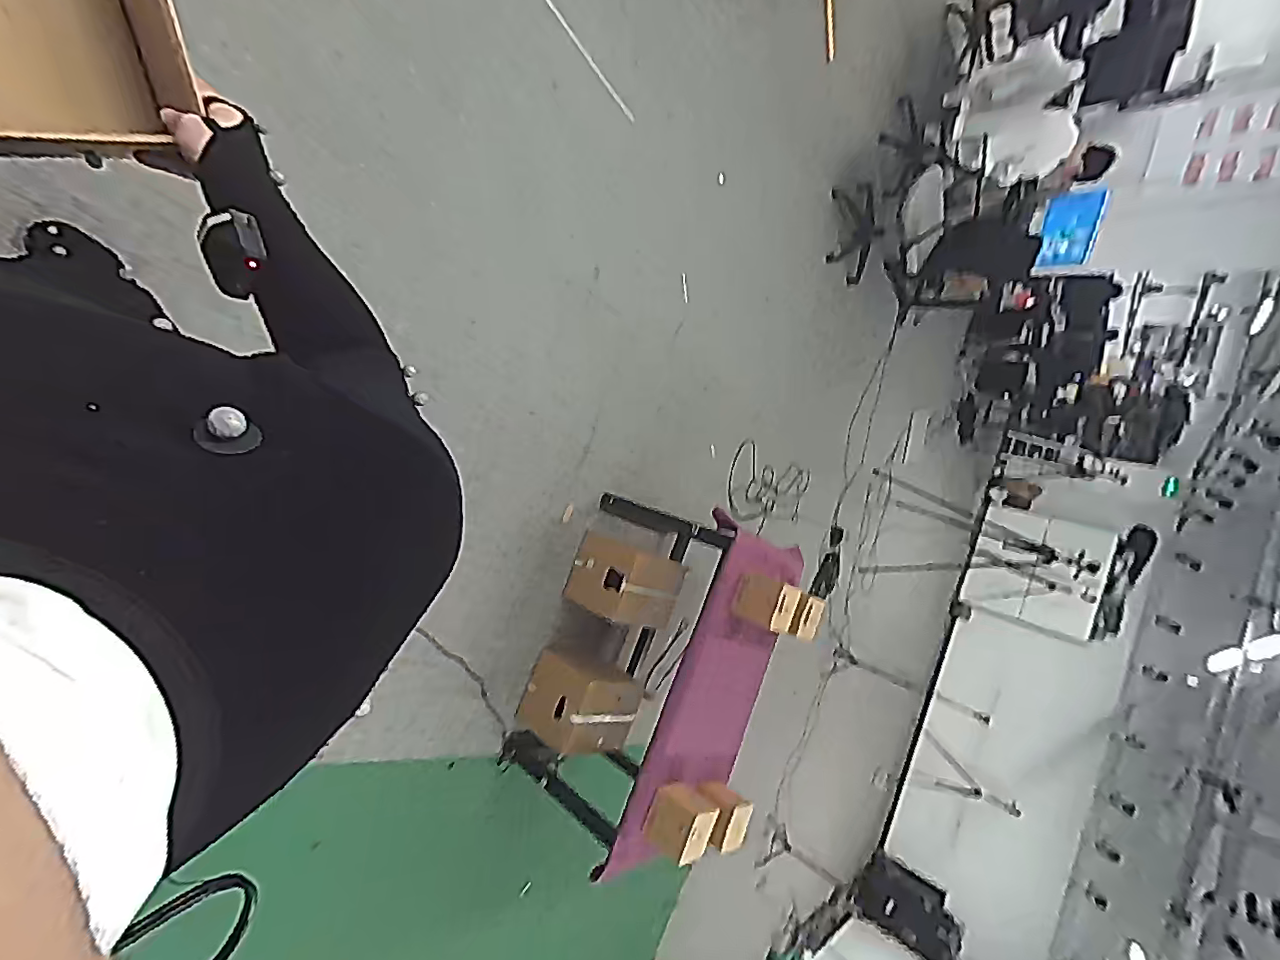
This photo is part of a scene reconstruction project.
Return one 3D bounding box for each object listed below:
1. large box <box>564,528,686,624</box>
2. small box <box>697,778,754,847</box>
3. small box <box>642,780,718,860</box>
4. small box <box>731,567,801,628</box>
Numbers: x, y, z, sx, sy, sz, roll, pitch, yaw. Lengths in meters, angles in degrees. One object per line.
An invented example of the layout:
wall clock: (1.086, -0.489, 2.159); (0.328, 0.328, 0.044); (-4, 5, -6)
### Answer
large box: (-0.065, 0.429, 2.416); (0.408, 0.320, 0.320); (26, 83, -50)
small box: (0.310, 1.282, 2.098); (0.179, 0.176, 0.168); (32, 76, -48)
small box: (0.139, 1.161, 1.864); (0.179, 0.176, 0.168); (34, 75, -51)
small box: (0.460, 0.429, 1.985); (0.179, 0.176, 0.168); (27, 83, -51)
